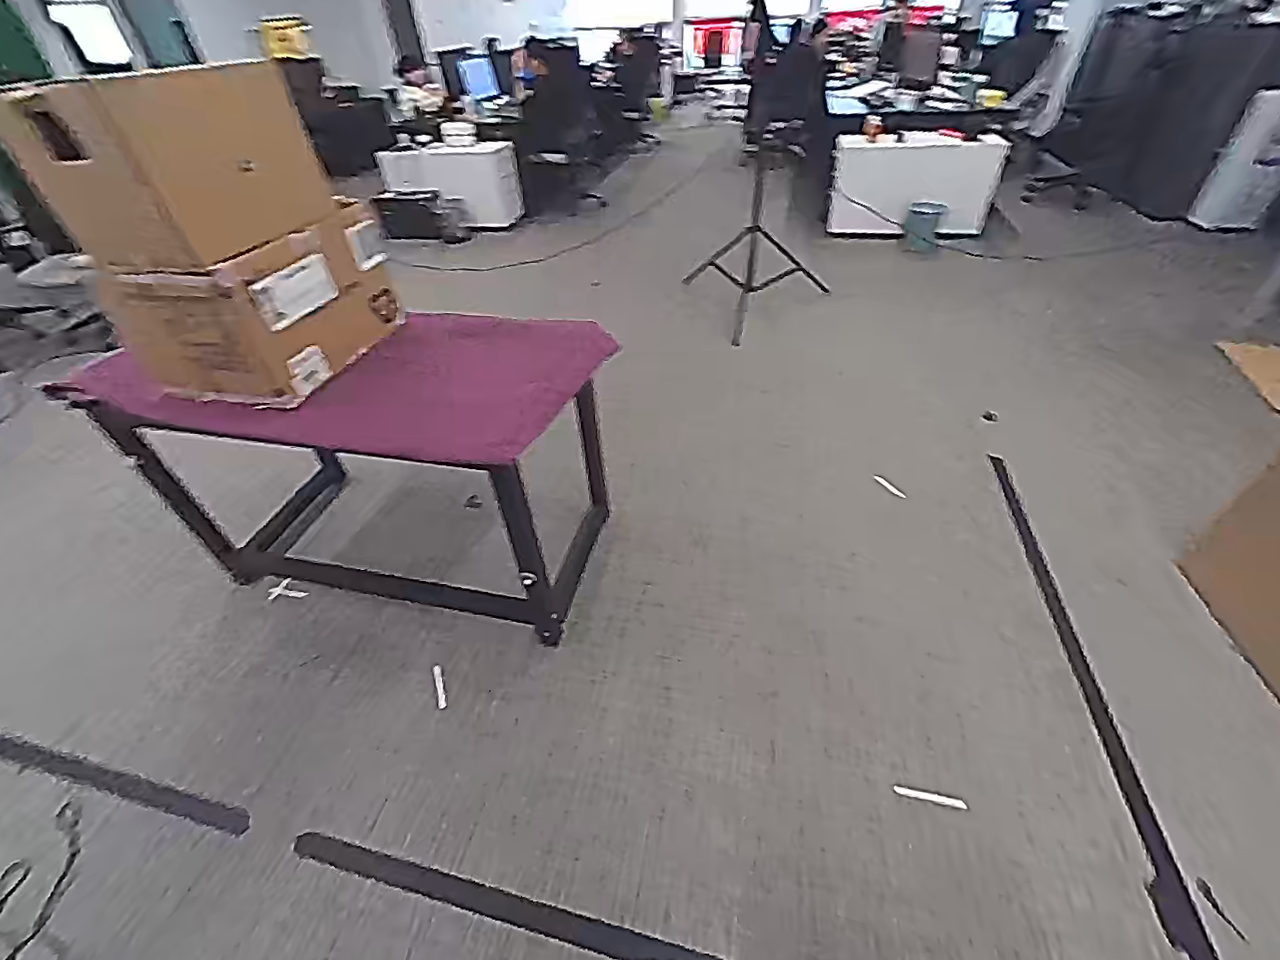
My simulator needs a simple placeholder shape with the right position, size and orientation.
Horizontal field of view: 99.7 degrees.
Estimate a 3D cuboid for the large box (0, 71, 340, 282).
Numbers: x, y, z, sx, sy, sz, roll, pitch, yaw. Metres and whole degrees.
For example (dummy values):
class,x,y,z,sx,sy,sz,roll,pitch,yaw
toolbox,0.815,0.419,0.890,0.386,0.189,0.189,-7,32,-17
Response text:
class,x,y,z,sx,sy,sz,roll,pitch,yaw
large box,-0.960,-0.661,1.171,0.320,0.320,0.408,4,42,16
